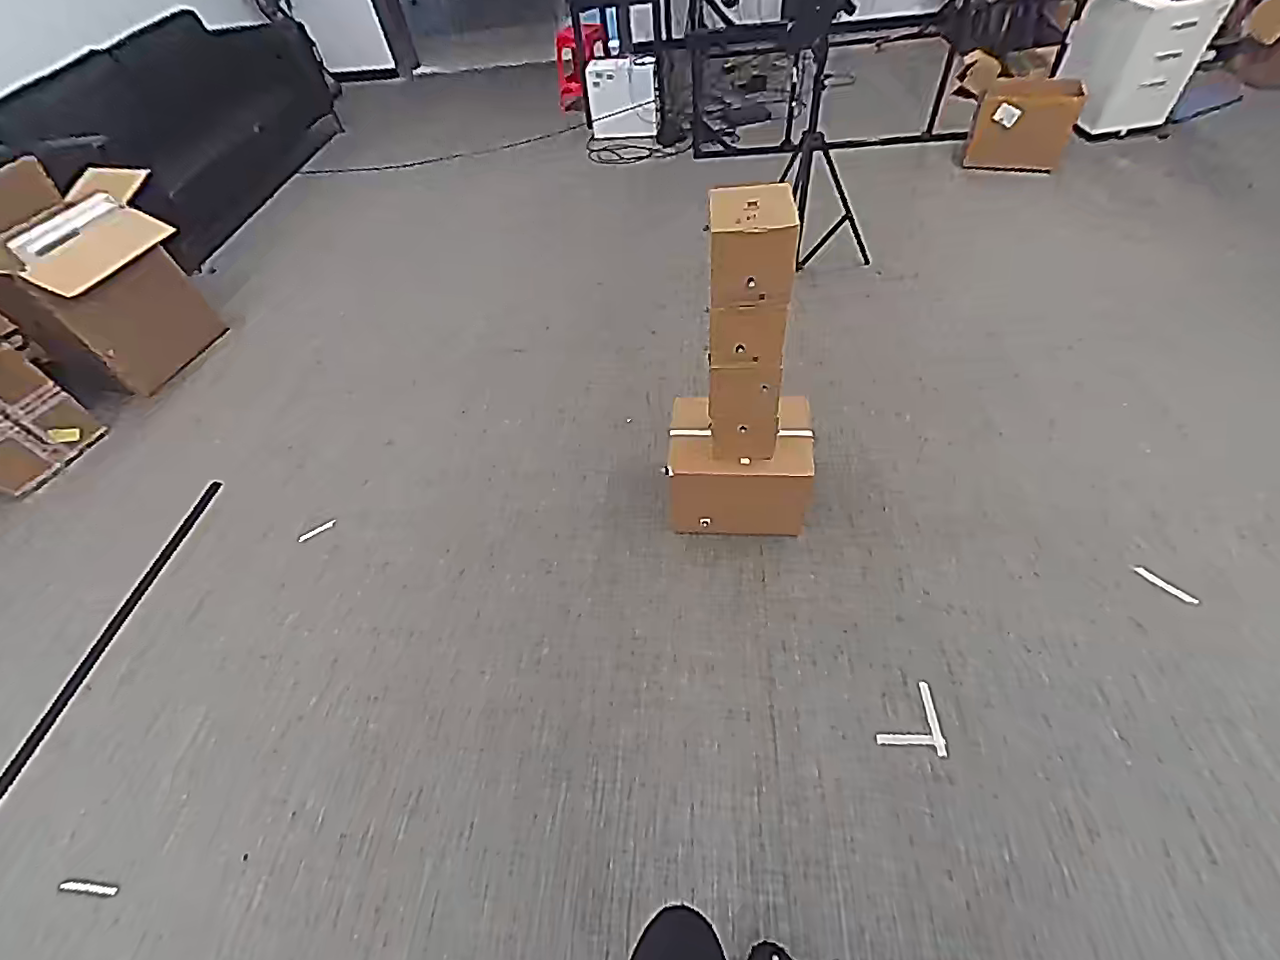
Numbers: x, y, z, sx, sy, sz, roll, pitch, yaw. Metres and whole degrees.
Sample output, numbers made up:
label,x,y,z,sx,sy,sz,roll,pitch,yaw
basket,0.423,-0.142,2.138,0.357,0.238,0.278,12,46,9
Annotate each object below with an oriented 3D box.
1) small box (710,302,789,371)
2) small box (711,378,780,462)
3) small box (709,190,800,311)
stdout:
label,x,y,z,sx,sy,sz,roll,pitch,yaw
small box,0.246,-0.372,1.253,0.168,0.176,0.179,0,53,7
small box,0.285,-0.163,1.501,0.179,0.176,0.168,0,53,6
small box,0.229,-0.476,1.126,0.168,0.176,0.179,-1,53,7
